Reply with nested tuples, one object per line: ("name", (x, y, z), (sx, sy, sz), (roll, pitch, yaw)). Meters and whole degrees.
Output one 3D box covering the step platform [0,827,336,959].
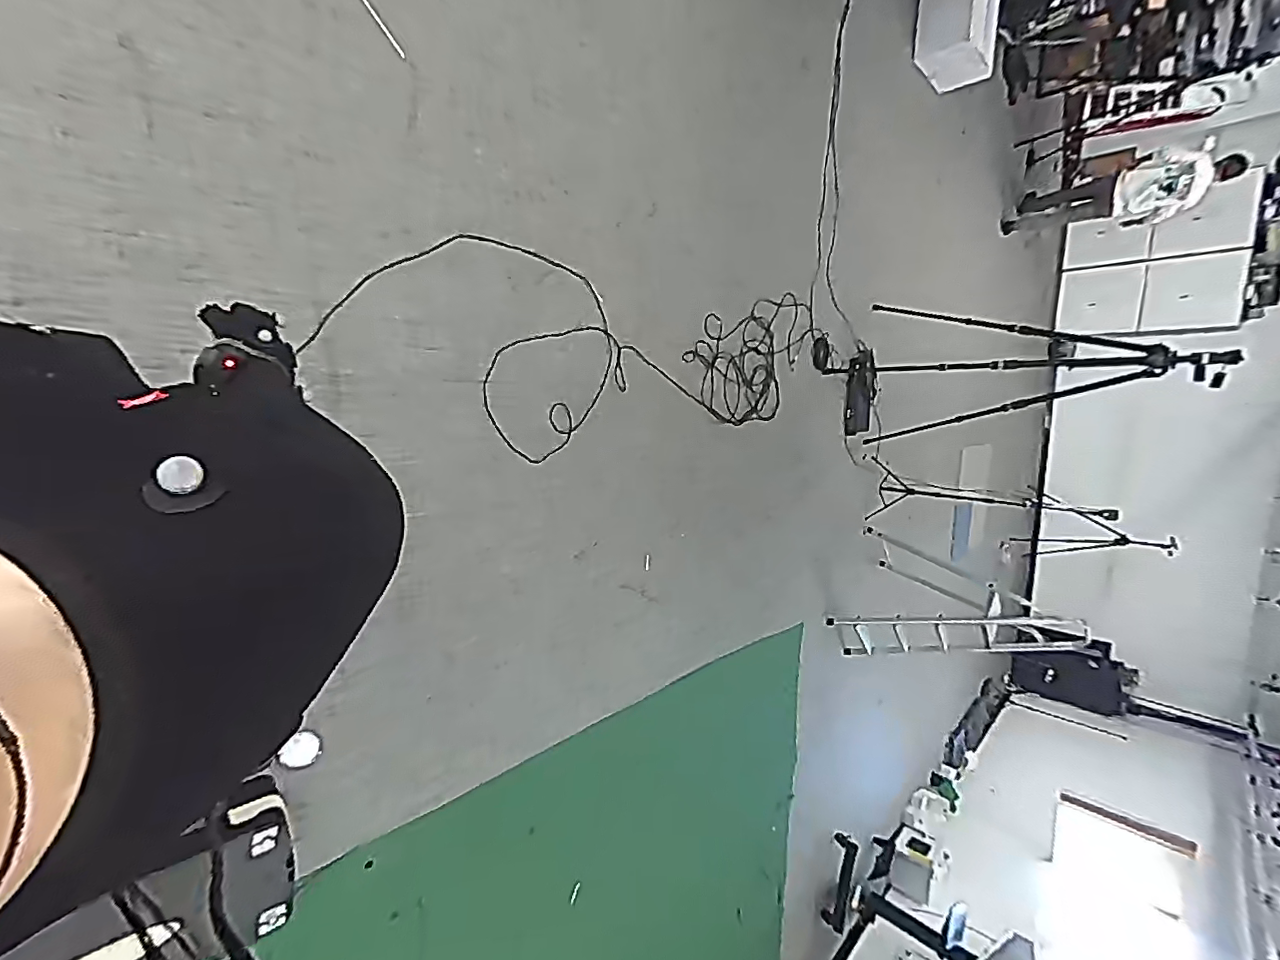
("step platform", (-0.947, 0.944, 0.959), (0.684, 0.204, 0.286), (-8, 101, -46))
